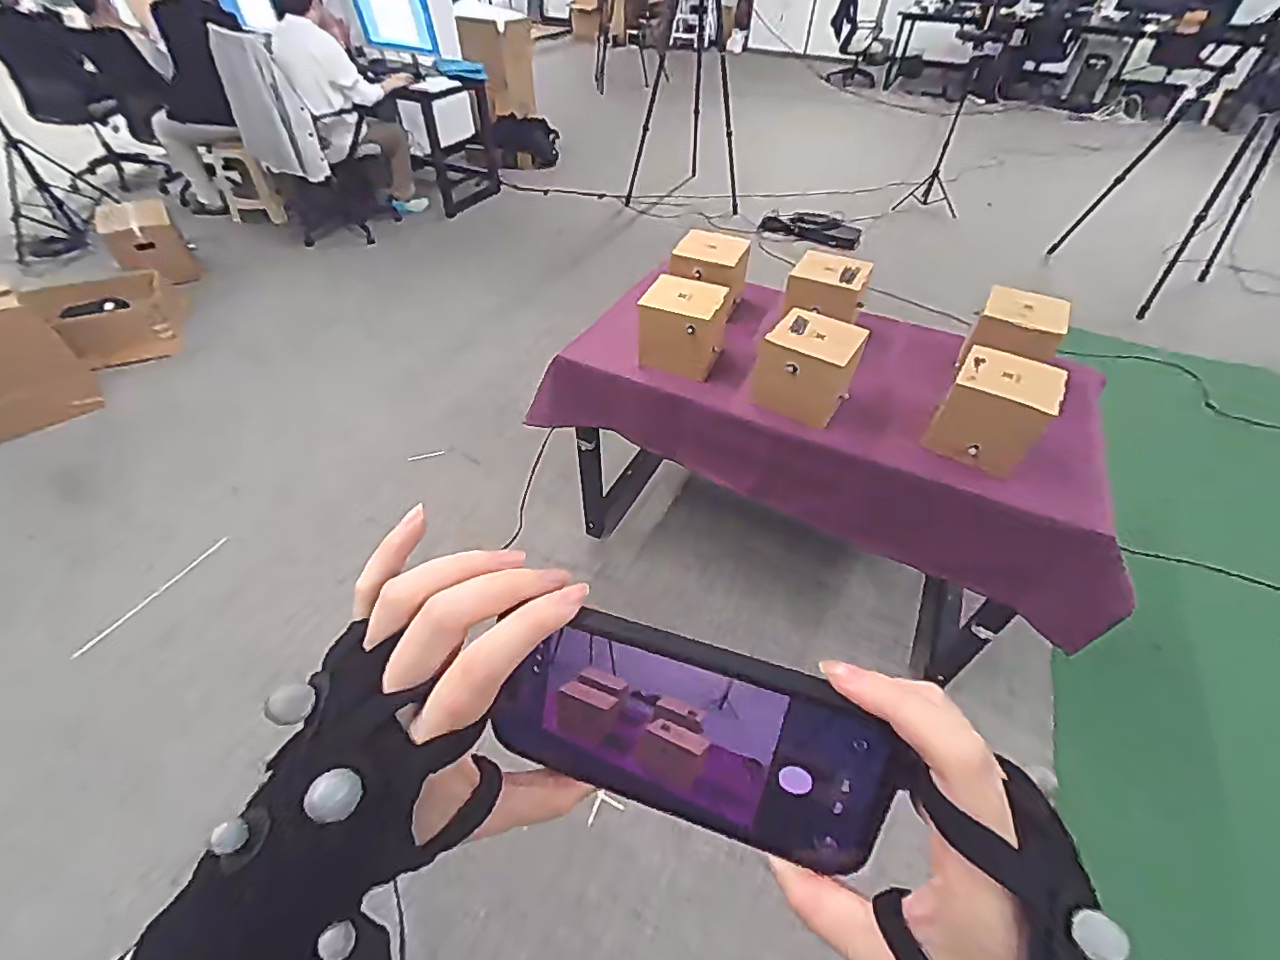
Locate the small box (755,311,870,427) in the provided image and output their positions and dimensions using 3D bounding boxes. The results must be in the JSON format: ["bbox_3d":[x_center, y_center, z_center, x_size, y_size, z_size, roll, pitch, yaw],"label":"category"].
[{"bbox_3d":[0.373,-0.243,1.196,0.179,0.176,0.168,27,51,21],"label":"small box"}]

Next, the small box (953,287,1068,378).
[{"bbox_3d":[0.876,-0.328,1.288,0.168,0.176,0.179,24,51,21],"label":"small box"}]

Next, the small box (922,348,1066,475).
[{"bbox_3d":[0.715,-0.135,1.101,0.179,0.176,0.168,28,51,22],"label":"small box"}]

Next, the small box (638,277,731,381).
[{"bbox_3d":[0.103,-0.362,1.303,0.179,0.176,0.168,18,48,13],"label":"small box"}]
